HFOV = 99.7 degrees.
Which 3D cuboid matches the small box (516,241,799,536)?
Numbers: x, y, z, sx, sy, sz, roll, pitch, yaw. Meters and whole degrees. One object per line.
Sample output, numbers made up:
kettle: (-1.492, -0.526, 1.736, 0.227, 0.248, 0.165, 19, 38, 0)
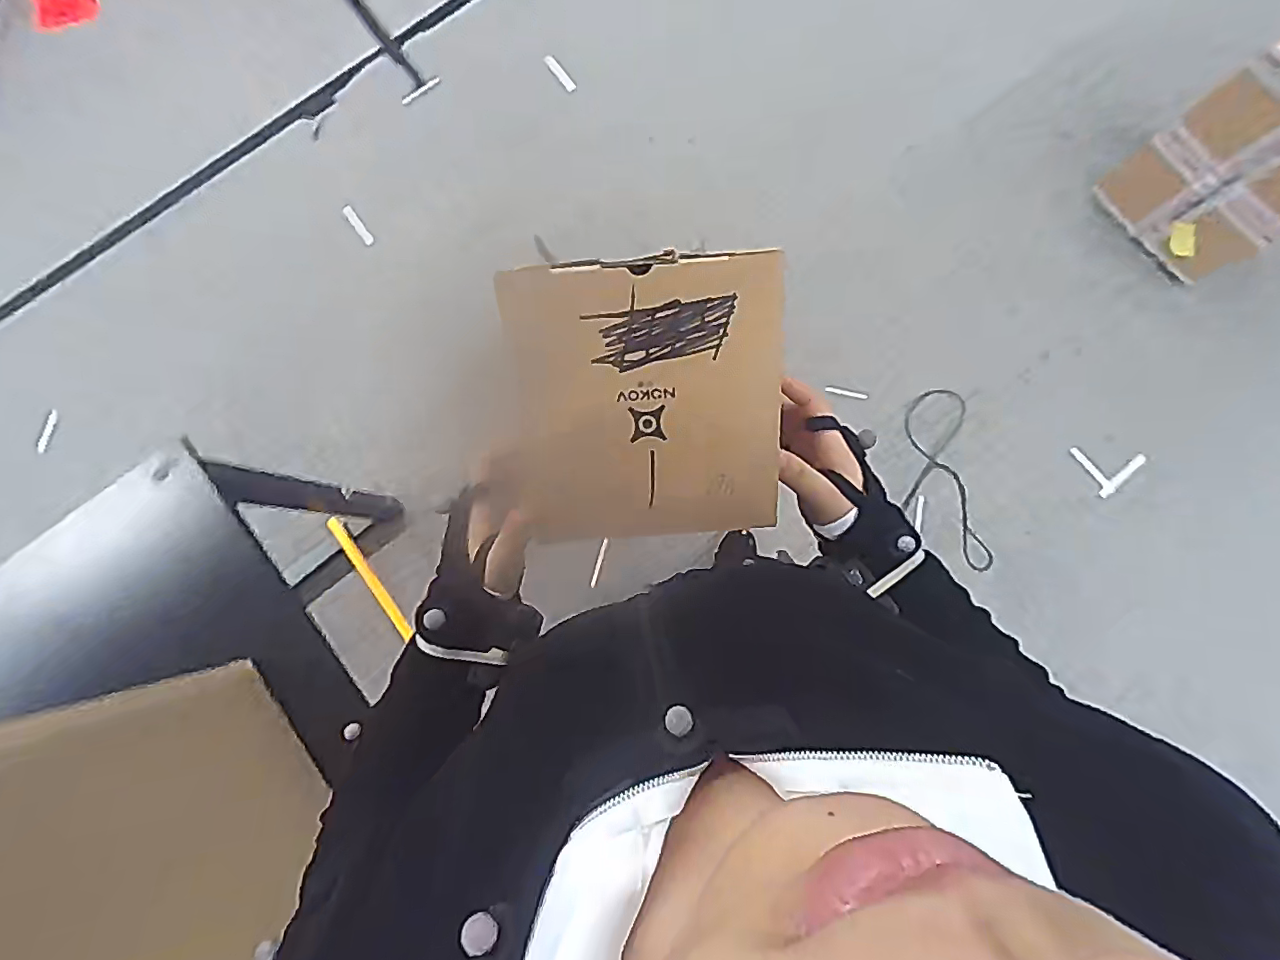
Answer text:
small box: (0.013, -0.074, 0.408, 0.168, 0.176, 0.179, -3, 110, 2)
